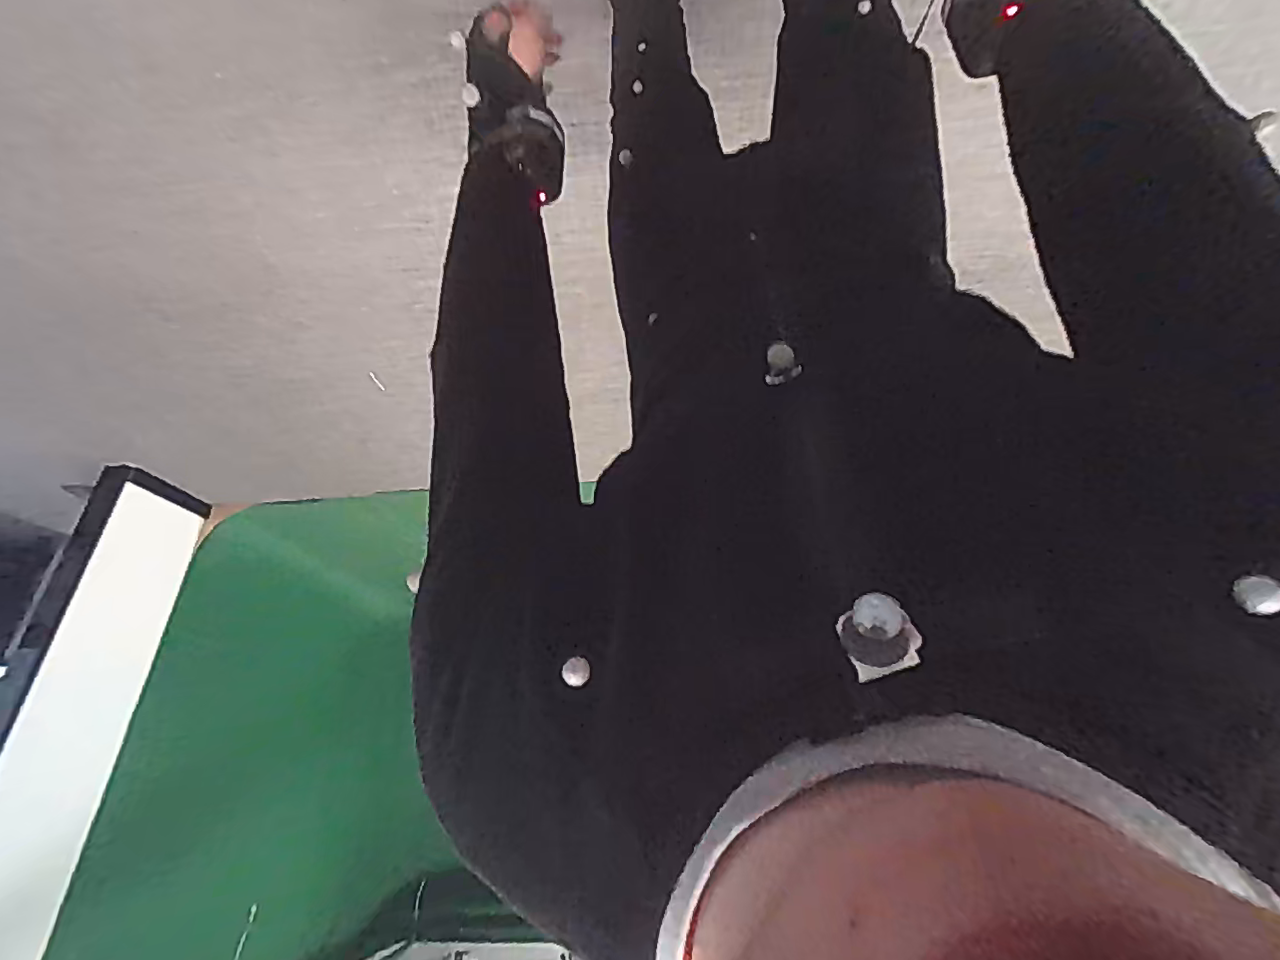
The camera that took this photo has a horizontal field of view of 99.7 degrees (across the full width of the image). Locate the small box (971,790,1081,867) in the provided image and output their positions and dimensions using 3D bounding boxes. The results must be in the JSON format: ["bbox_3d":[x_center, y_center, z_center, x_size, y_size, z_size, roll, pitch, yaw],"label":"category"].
[{"bbox_3d":[1.093,0.991,1.548,0.179,0.176,0.168,-6,151,5],"label":"small box"}]
